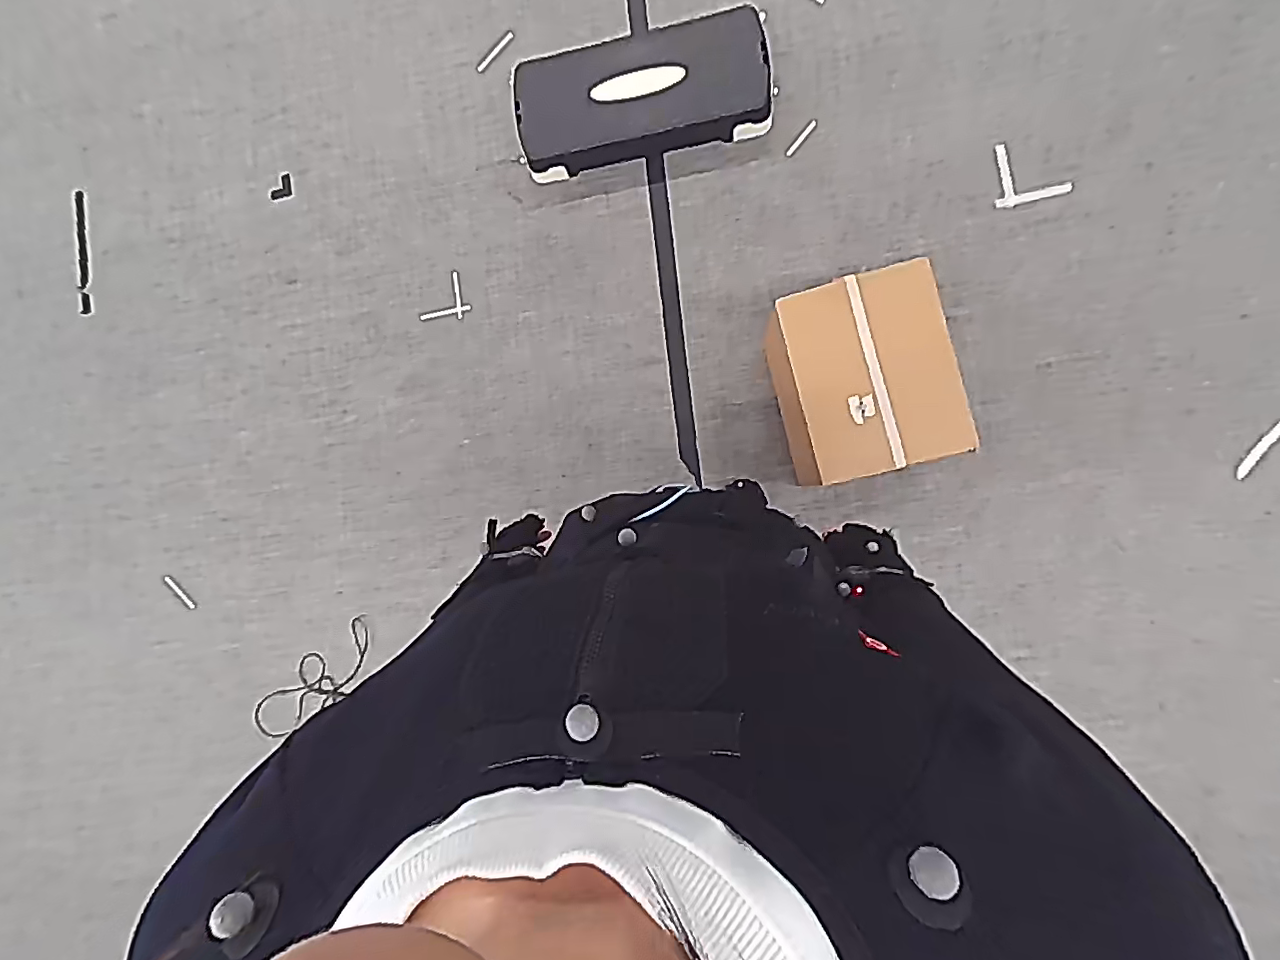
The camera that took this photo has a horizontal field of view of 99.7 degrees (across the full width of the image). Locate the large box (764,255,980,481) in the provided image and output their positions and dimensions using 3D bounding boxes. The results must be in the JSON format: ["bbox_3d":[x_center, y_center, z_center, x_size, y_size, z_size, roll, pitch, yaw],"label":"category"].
[{"bbox_3d":[0.500,-0.228,1.248,0.320,0.320,0.408,-14,88,8],"label":"large box"}]
